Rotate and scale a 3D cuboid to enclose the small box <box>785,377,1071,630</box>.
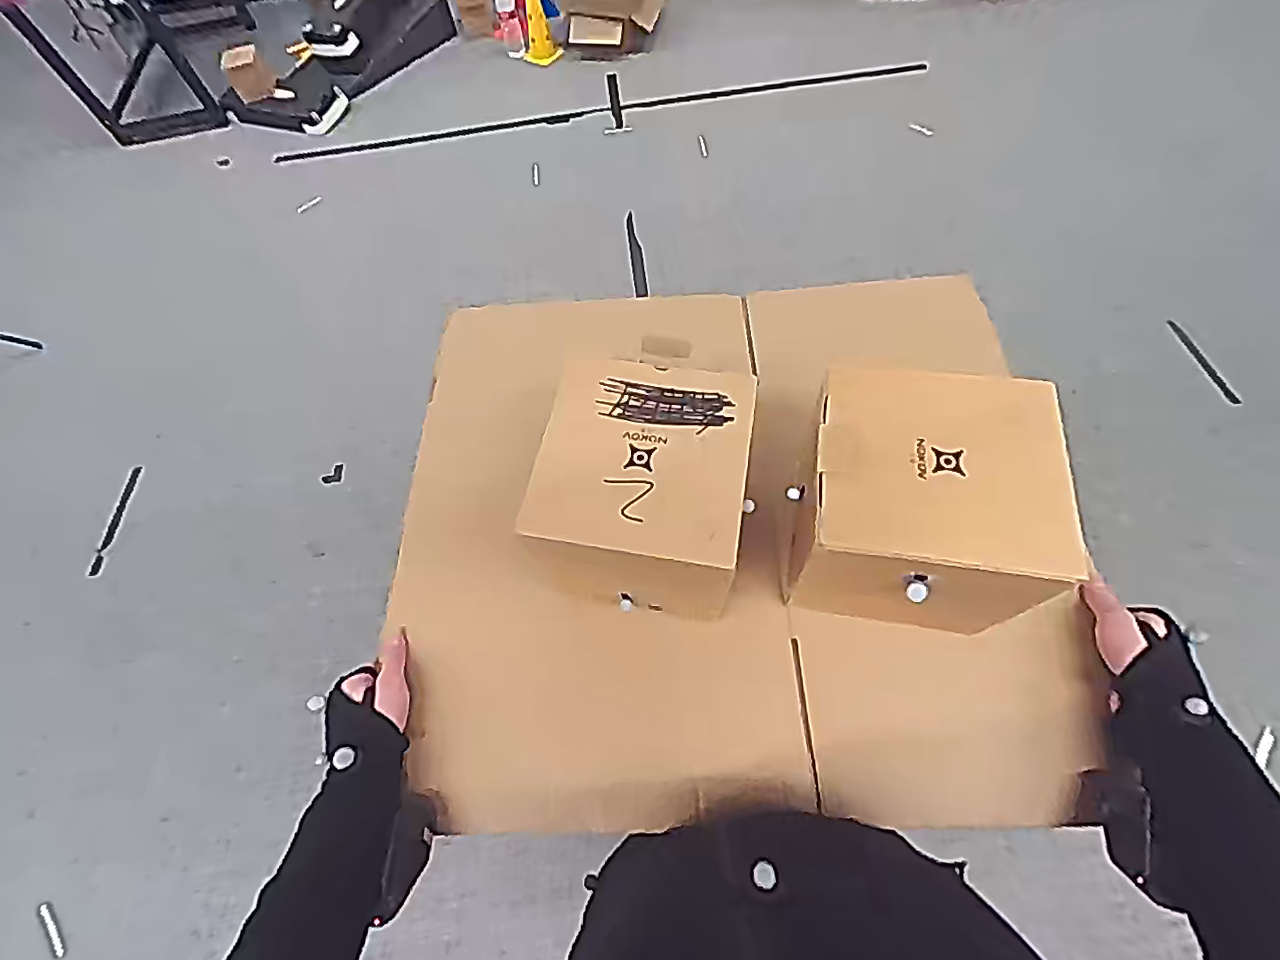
[{"bbox_3d":[0.237,0.029,0.490,0.179,0.176,0.168,7,64,11],"label":"small box"}]
